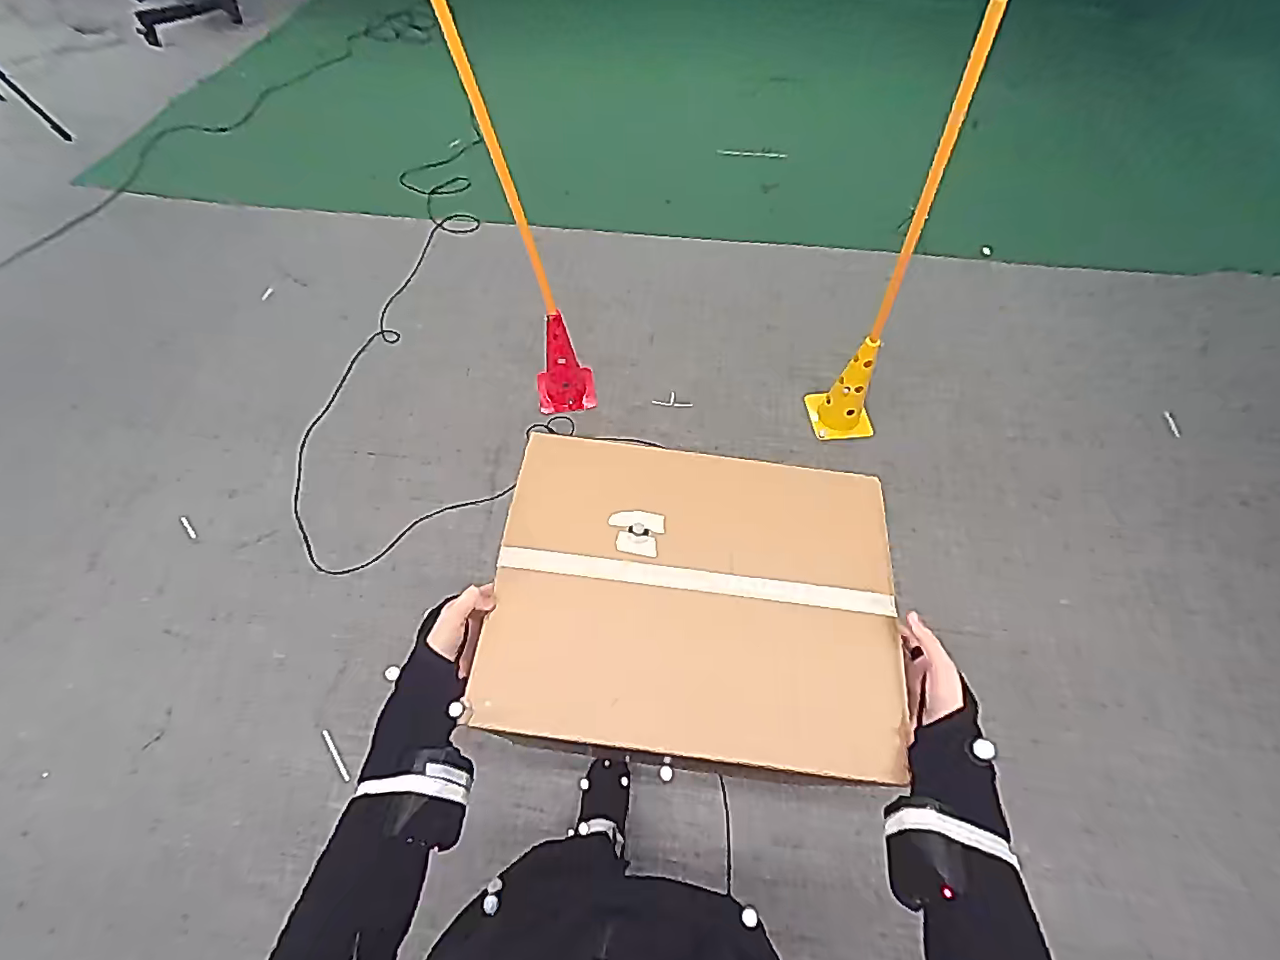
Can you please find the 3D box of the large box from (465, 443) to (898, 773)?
[{"bbox_3d":[0.048,0.179,0.691,0.408,0.320,0.320,7,60,2],"label":"large box"}]
